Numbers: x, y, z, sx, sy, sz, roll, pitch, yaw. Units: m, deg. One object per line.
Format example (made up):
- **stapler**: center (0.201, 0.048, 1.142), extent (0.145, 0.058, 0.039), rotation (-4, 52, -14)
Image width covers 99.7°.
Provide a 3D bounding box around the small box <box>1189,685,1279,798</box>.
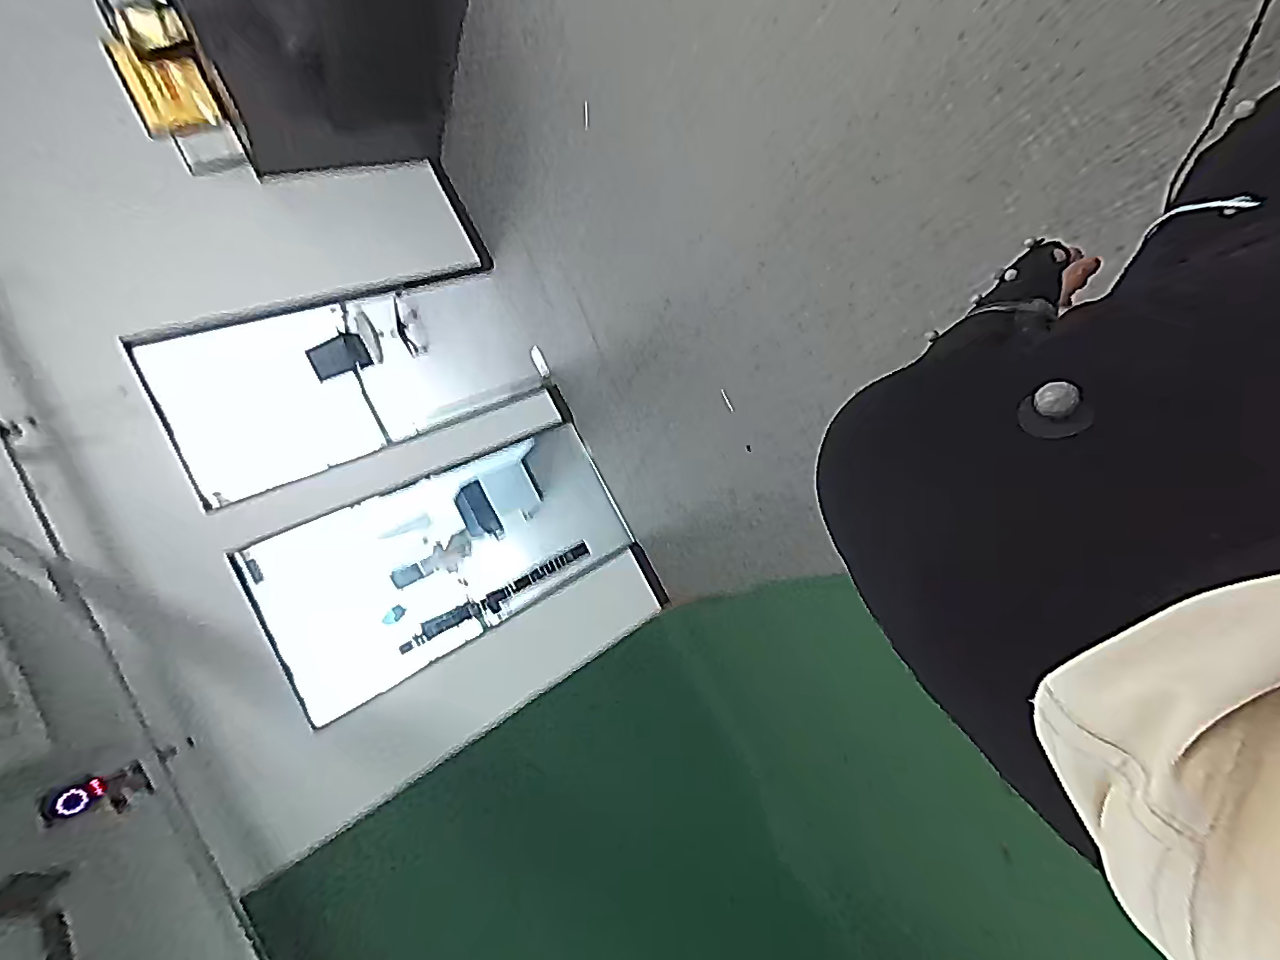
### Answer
- **small box**: center (1.485, 0.626, 1.300), extent (0.168, 0.176, 0.179), rotation (-22, 93, 60)
